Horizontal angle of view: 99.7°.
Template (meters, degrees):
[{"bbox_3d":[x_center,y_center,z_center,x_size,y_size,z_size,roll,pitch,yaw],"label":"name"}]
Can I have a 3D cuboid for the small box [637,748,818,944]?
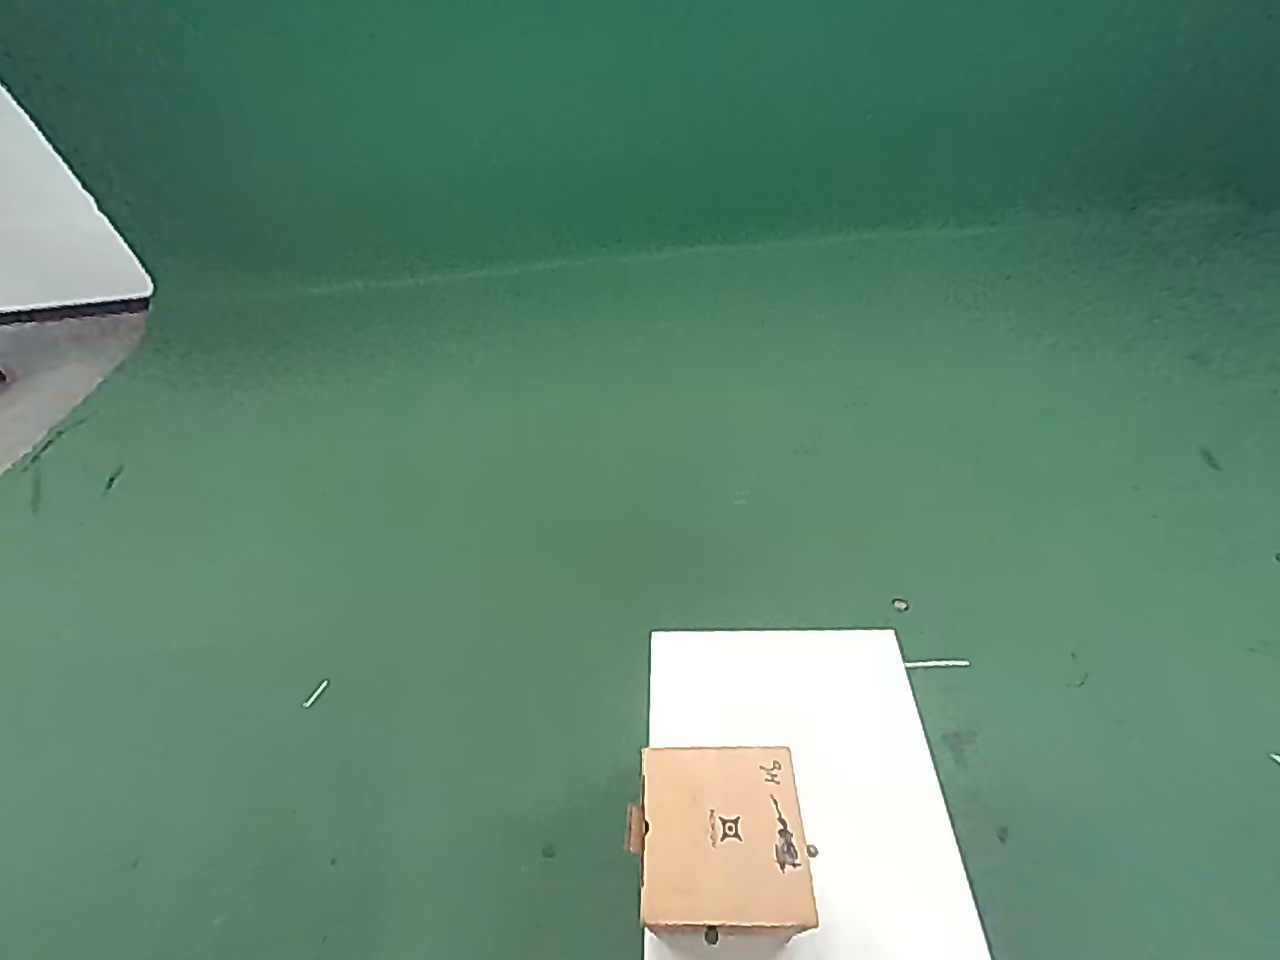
[{"bbox_3d":[0.093,0.426,0.629,0.179,0.176,0.168,-2,47,4],"label":"small box"}]
